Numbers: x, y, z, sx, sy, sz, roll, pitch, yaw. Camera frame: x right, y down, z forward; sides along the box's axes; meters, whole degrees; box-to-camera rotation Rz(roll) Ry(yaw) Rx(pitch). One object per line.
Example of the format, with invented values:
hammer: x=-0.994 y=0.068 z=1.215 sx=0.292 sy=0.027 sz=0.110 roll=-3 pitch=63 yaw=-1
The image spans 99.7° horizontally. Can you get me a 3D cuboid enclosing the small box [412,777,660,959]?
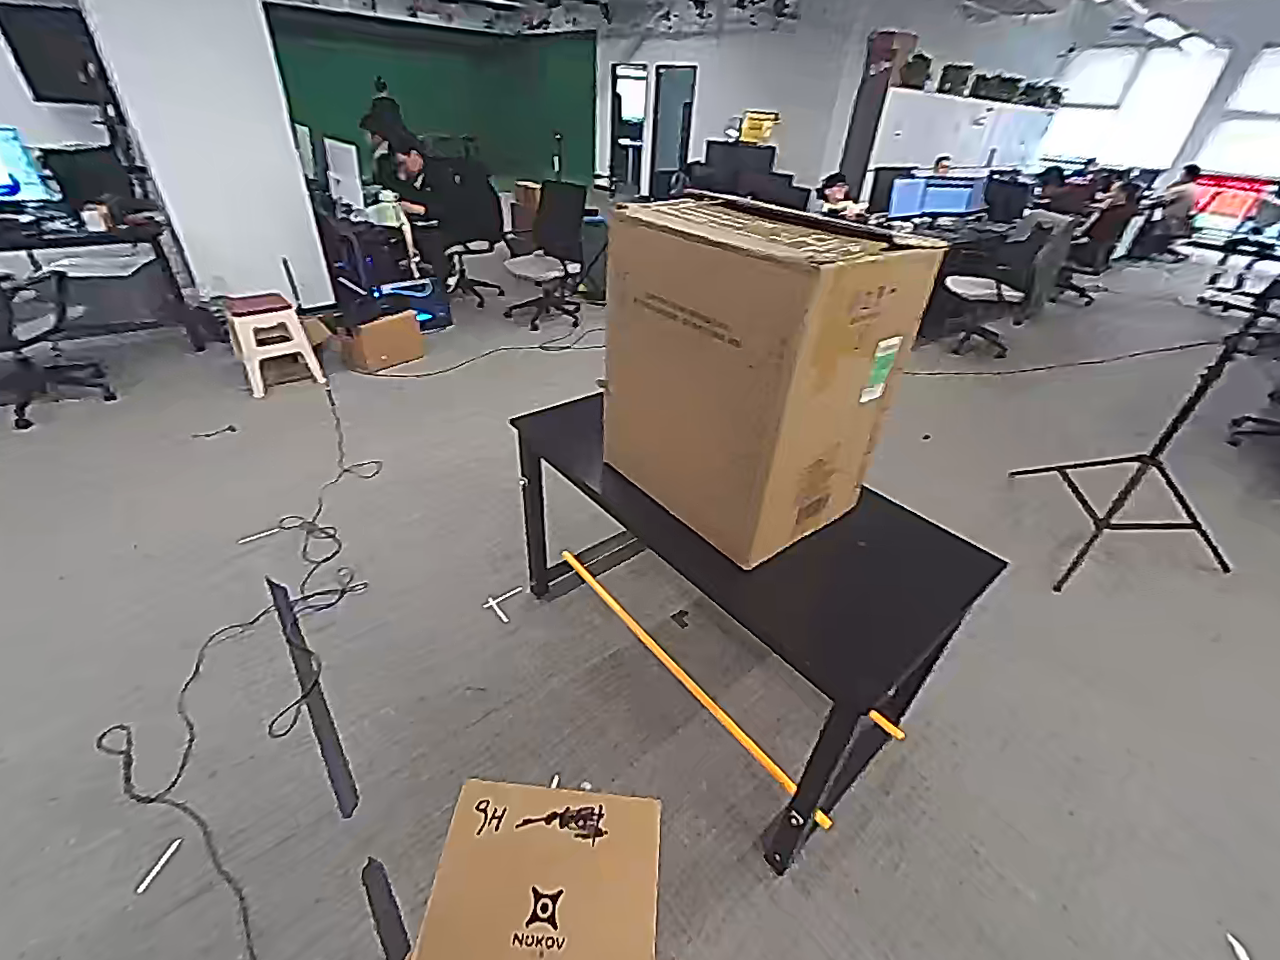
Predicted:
small box: x=-0.076 y=0.369 z=0.440 sx=0.168 sy=0.176 sz=0.179 roll=6 pitch=44 yaw=0
